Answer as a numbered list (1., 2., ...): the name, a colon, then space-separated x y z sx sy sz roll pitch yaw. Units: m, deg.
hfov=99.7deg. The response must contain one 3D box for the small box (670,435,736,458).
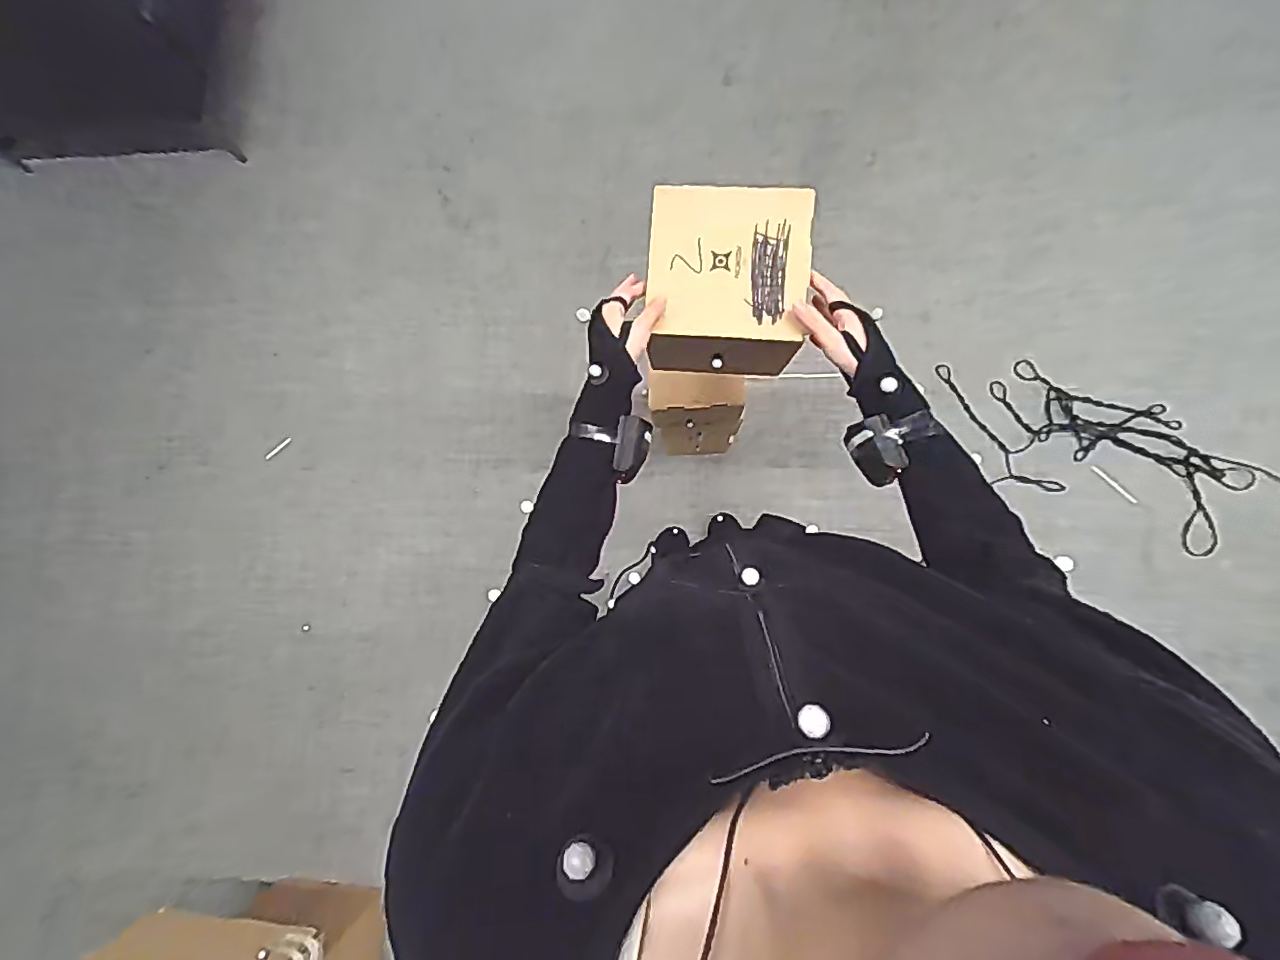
1. small box: 0.169 -0.154 1.478 0.179 0.176 0.168 0 83 5

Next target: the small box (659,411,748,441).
1. small box: 0.130 -0.180 1.153 0.179 0.176 0.168 -2 83 5

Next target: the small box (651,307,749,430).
1. small box: 0.107 -0.197 0.992 0.168 0.176 0.179 -2 84 6

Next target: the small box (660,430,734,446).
1. small box: 0.142 -0.175 1.317 0.179 0.176 0.168 0 84 6
